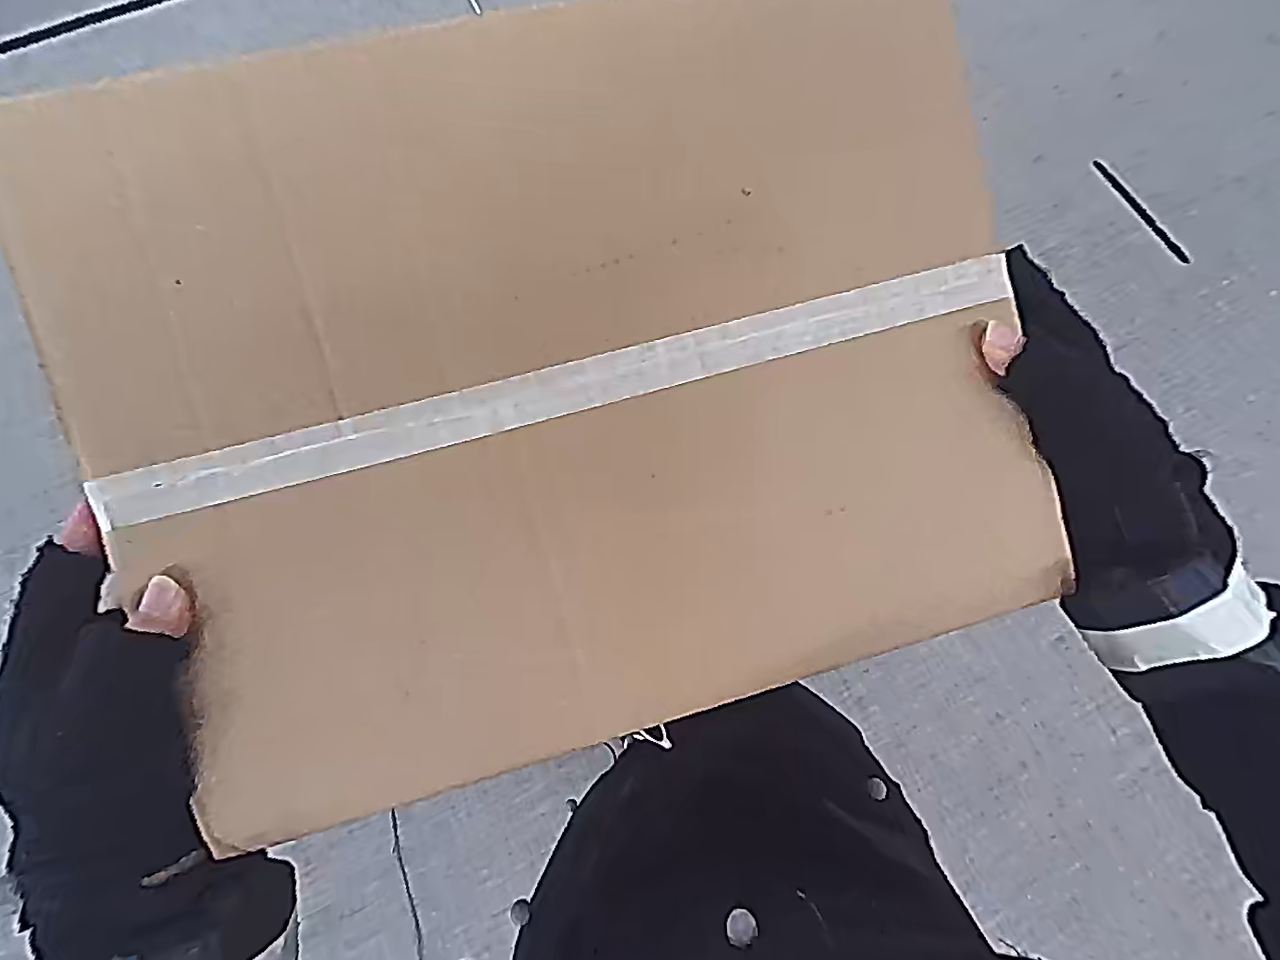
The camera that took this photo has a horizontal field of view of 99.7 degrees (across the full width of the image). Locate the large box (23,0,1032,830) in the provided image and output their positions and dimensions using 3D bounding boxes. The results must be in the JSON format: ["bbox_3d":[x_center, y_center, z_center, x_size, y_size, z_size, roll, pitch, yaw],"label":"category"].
[{"bbox_3d":[-0.039,-0.049,0.396,0.408,0.320,0.320,-15,93,-6],"label":"large box"}]
